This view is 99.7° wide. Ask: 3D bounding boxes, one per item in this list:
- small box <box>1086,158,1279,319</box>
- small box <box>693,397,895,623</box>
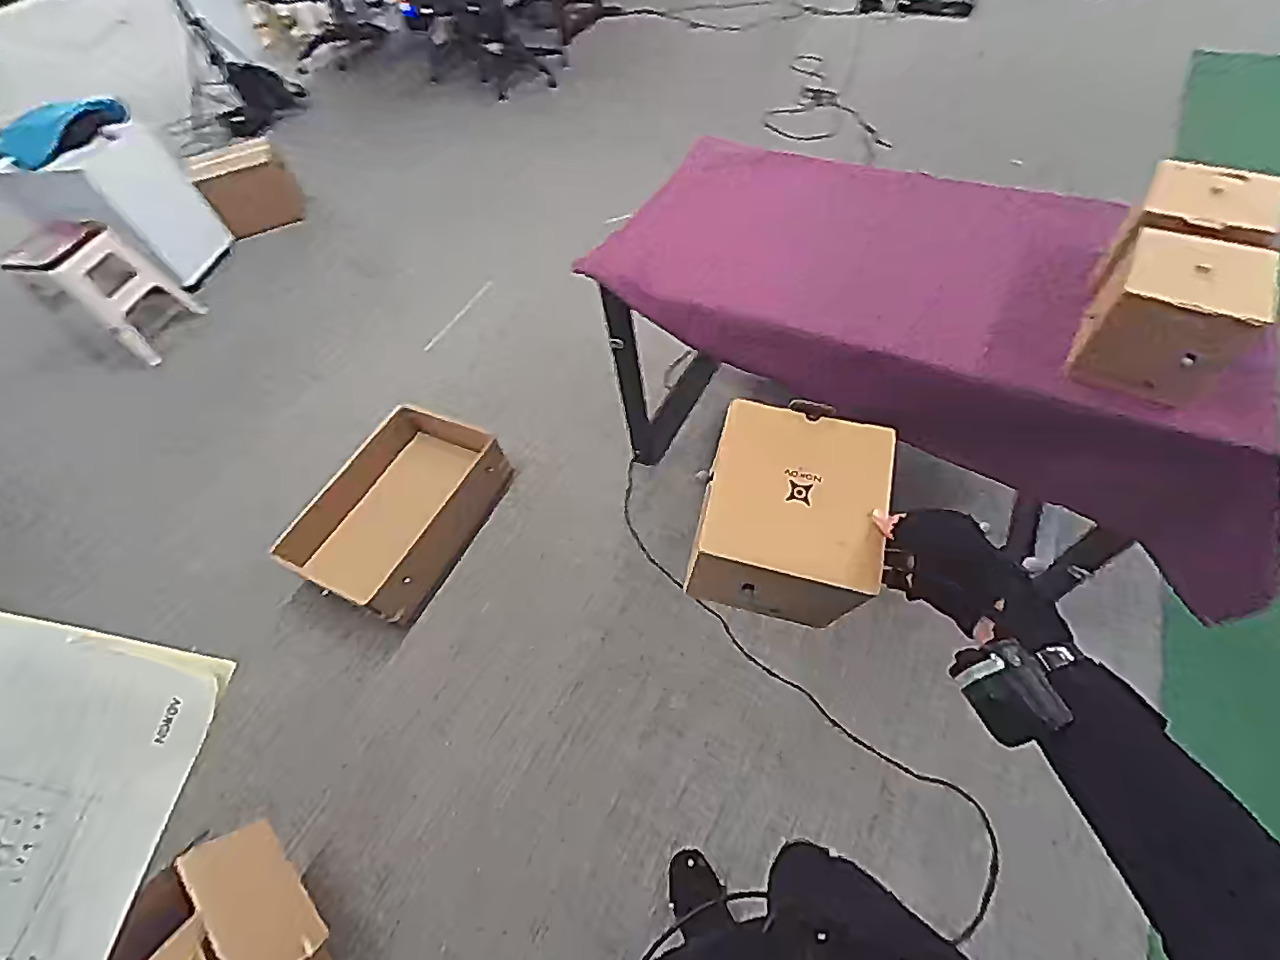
[{"bbox_3d":[0.908,-0.406,0.919,0.168,0.176,0.179,28,65,24],"label":"small box"},{"bbox_3d":[0.156,0.042,0.591,0.168,0.176,0.179,14,64,7],"label":"small box"}]
